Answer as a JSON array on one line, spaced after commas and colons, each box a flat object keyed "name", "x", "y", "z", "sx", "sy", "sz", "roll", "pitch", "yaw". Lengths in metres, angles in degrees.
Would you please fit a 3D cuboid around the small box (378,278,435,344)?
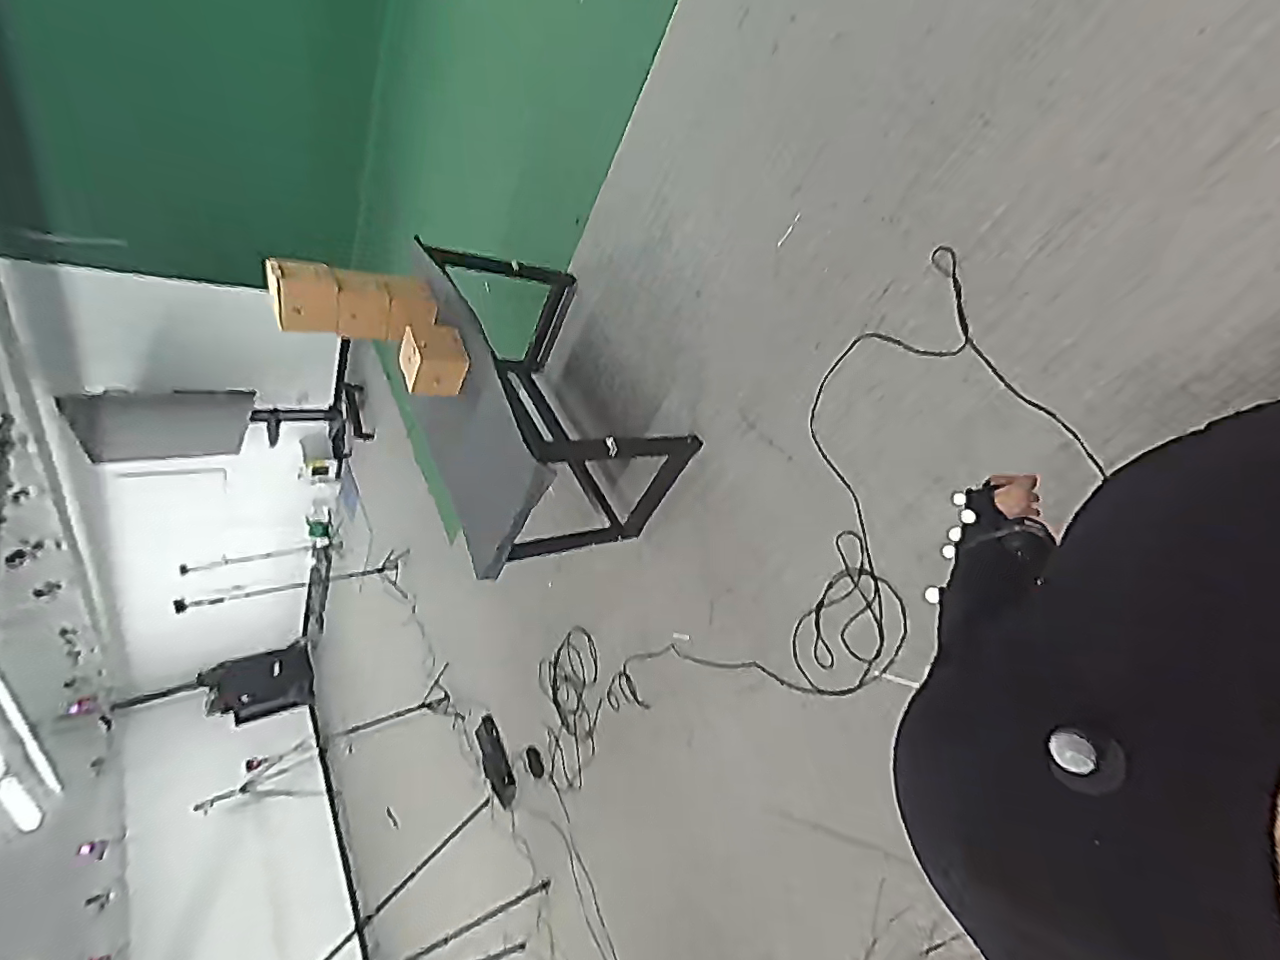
[{"name": "small box", "x": -0.880, "y": -0.625, "z": 2.016, "sx": 0.168, "sy": 0.176, "sz": 0.179, "roll": 55, "pitch": 135, "yaw": 27}]

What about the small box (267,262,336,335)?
[{"name": "small box", "x": -1.124, "y": -0.597, "z": 1.798, "sx": 0.168, "sy": 0.176, "sz": 0.179, "roll": 48, "pitch": 130, "yaw": 31}]

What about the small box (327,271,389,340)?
[{"name": "small box", "x": -1.001, "y": -0.609, "z": 1.909, "sx": 0.168, "sy": 0.176, "sz": 0.179, "roll": 51, "pitch": 131, "yaw": 29}]

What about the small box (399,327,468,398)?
[{"name": "small box", "x": -0.707, "y": -0.398, "z": 1.851, "sx": 0.179, "sy": 0.176, "sz": 0.168, "roll": -50, "pitch": 59, "yaw": 43}]
